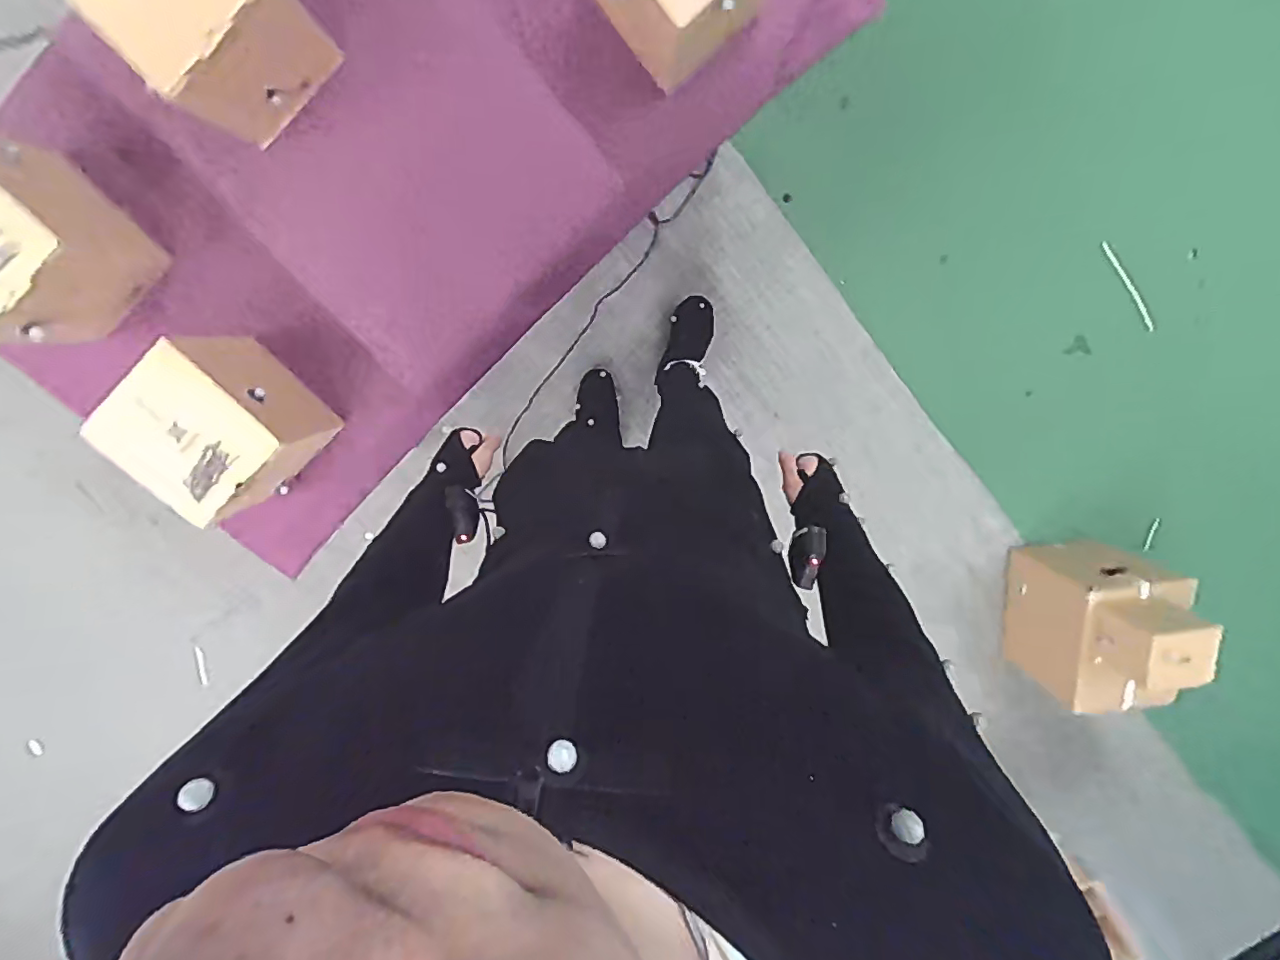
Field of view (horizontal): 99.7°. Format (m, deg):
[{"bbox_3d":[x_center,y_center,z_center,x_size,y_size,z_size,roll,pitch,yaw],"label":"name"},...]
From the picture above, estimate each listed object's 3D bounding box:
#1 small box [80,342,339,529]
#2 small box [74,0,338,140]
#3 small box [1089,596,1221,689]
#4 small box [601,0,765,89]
[{"bbox_3d":[-0.555,-0.070,0.730,0.168,0.176,0.179,-42,103,7],"label":"small box"},{"bbox_3d":[-0.494,-0.534,0.610,0.168,0.176,0.179,-42,105,7],"label":"small box"},{"bbox_3d":[1.344,0.419,1.421,0.179,0.176,0.168,-8,106,0],"label":"small box"},{"bbox_3d":[0.048,-0.610,0.621,0.168,0.176,0.179,-40,102,8],"label":"small box"}]
